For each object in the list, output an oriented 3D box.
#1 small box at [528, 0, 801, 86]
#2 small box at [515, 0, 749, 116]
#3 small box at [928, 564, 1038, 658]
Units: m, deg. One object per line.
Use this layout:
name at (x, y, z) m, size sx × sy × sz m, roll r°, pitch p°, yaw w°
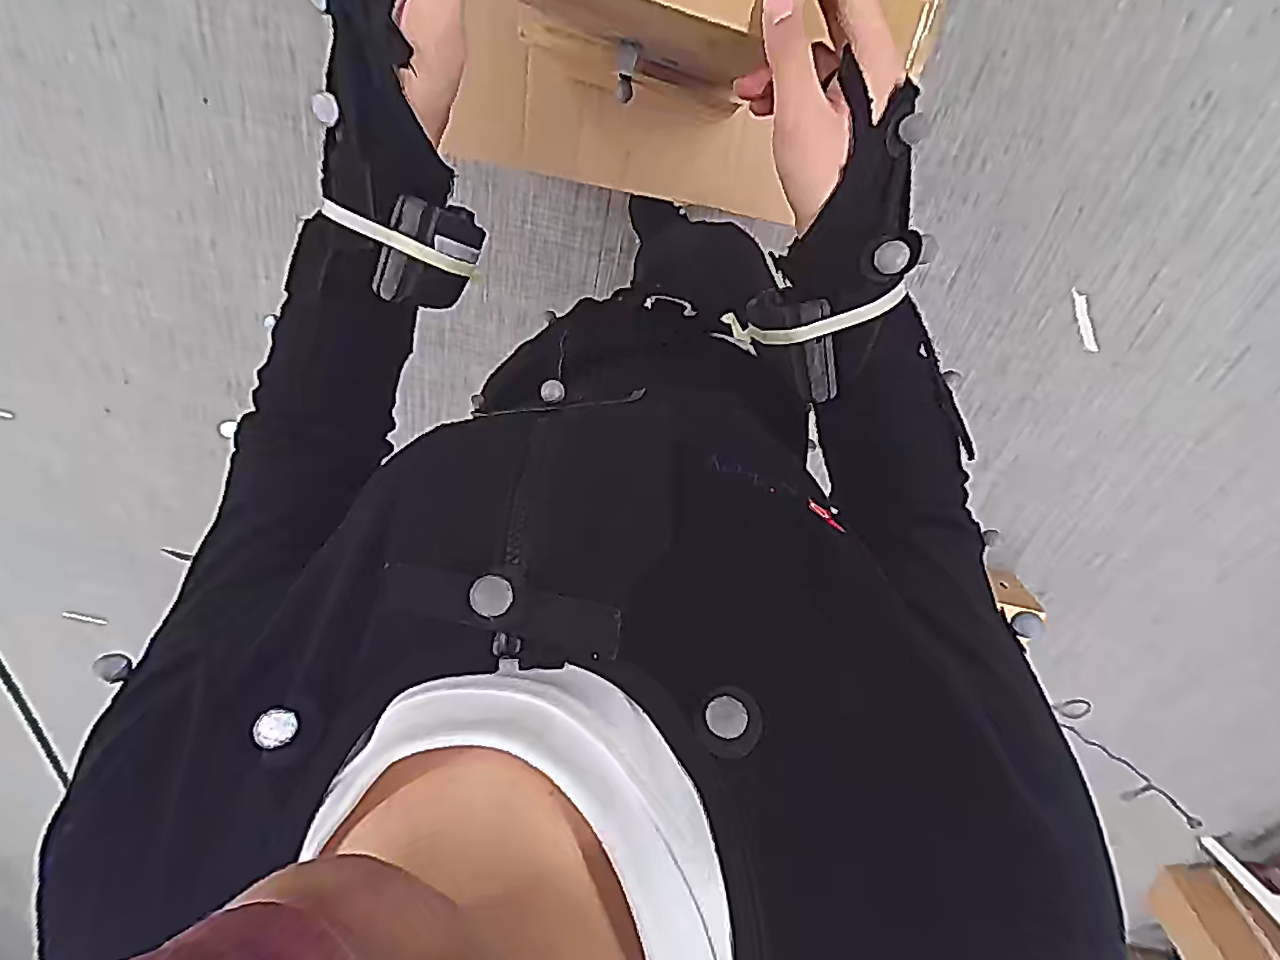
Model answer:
small box at (0.018, -0.338, 0.280) m, size 0.168 × 0.176 × 0.179 m, roll 15°, pitch 121°, yaw -6°
small box at (0.017, -0.409, 0.431) m, size 0.179 × 0.176 × 0.168 m, roll 15°, pitch 120°, yaw -4°
small box at (0.945, 0.361, 1.512) m, size 0.168 × 0.176 × 0.179 m, roll 13°, pitch 119°, yaw -3°
